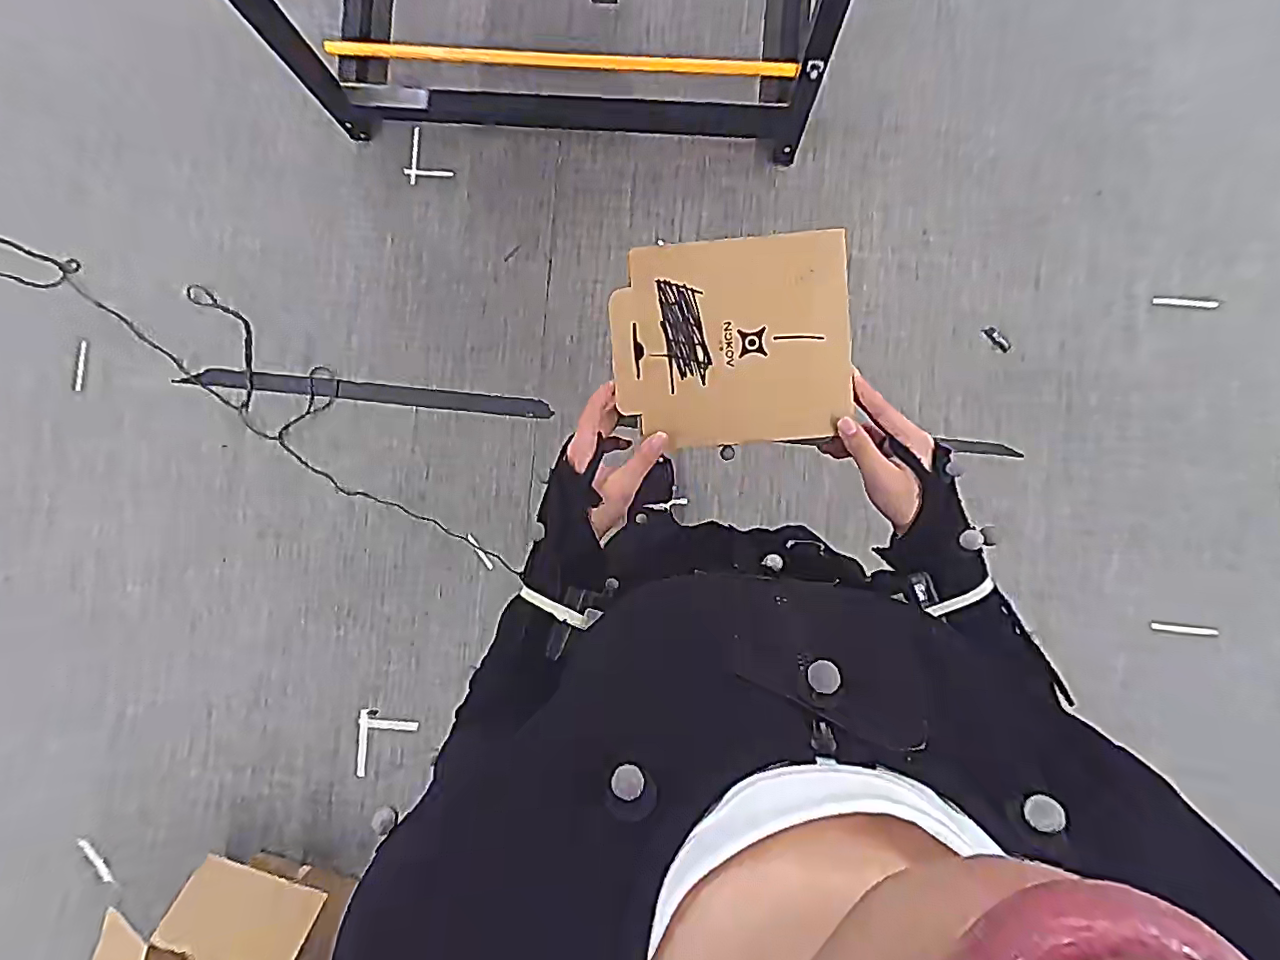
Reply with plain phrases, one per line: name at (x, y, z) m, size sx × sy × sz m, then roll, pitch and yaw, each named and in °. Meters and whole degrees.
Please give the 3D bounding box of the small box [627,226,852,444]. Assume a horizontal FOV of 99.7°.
small box at (0.085, -0.121, 0.518) m, size 0.179 × 0.176 × 0.168 m, roll -4°, pitch 94°, yaw 2°
